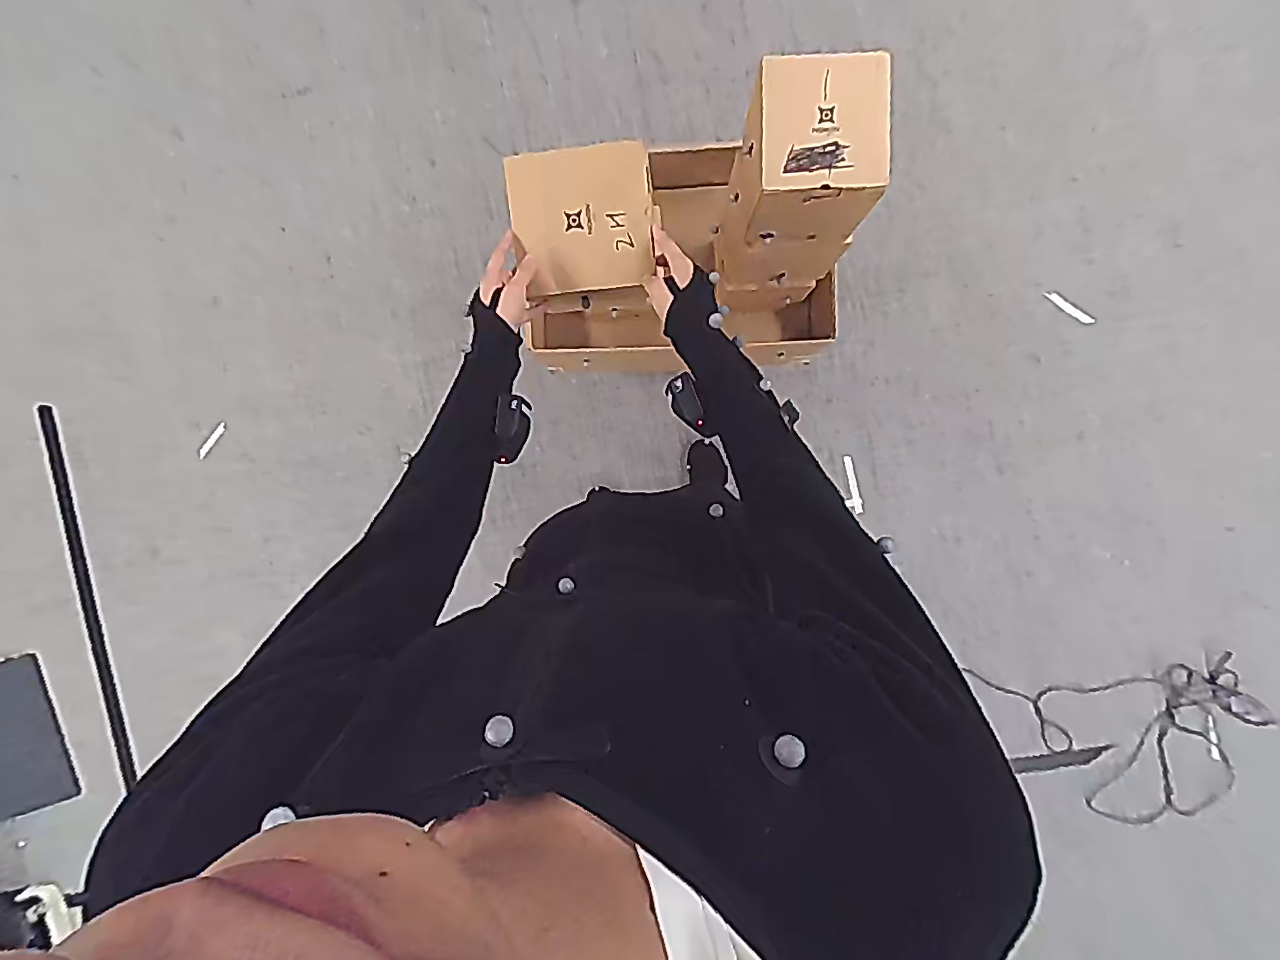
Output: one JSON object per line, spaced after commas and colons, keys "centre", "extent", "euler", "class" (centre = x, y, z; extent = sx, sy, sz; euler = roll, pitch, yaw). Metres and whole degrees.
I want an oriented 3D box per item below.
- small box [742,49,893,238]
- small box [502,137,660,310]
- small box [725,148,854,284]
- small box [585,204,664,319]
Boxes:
{"centre": [0.241, -0.460, 0.768], "extent": [0.168, 0.176, 0.179], "euler": [0, 91, 2], "class": "small box"}
{"centre": [-0.068, -0.329, 0.728], "extent": [0.179, 0.176, 0.168], "euler": [-4, 101, 4], "class": "small box"}
{"centre": [0.249, -0.451, 0.933], "extent": [0.179, 0.176, 0.168], "euler": [-4, 92, 2], "class": "small box"}
{"centre": [-0.035, -0.437, 1.112], "extent": [0.168, 0.176, 0.179], "euler": [-3, 91, 2], "class": "small box"}
